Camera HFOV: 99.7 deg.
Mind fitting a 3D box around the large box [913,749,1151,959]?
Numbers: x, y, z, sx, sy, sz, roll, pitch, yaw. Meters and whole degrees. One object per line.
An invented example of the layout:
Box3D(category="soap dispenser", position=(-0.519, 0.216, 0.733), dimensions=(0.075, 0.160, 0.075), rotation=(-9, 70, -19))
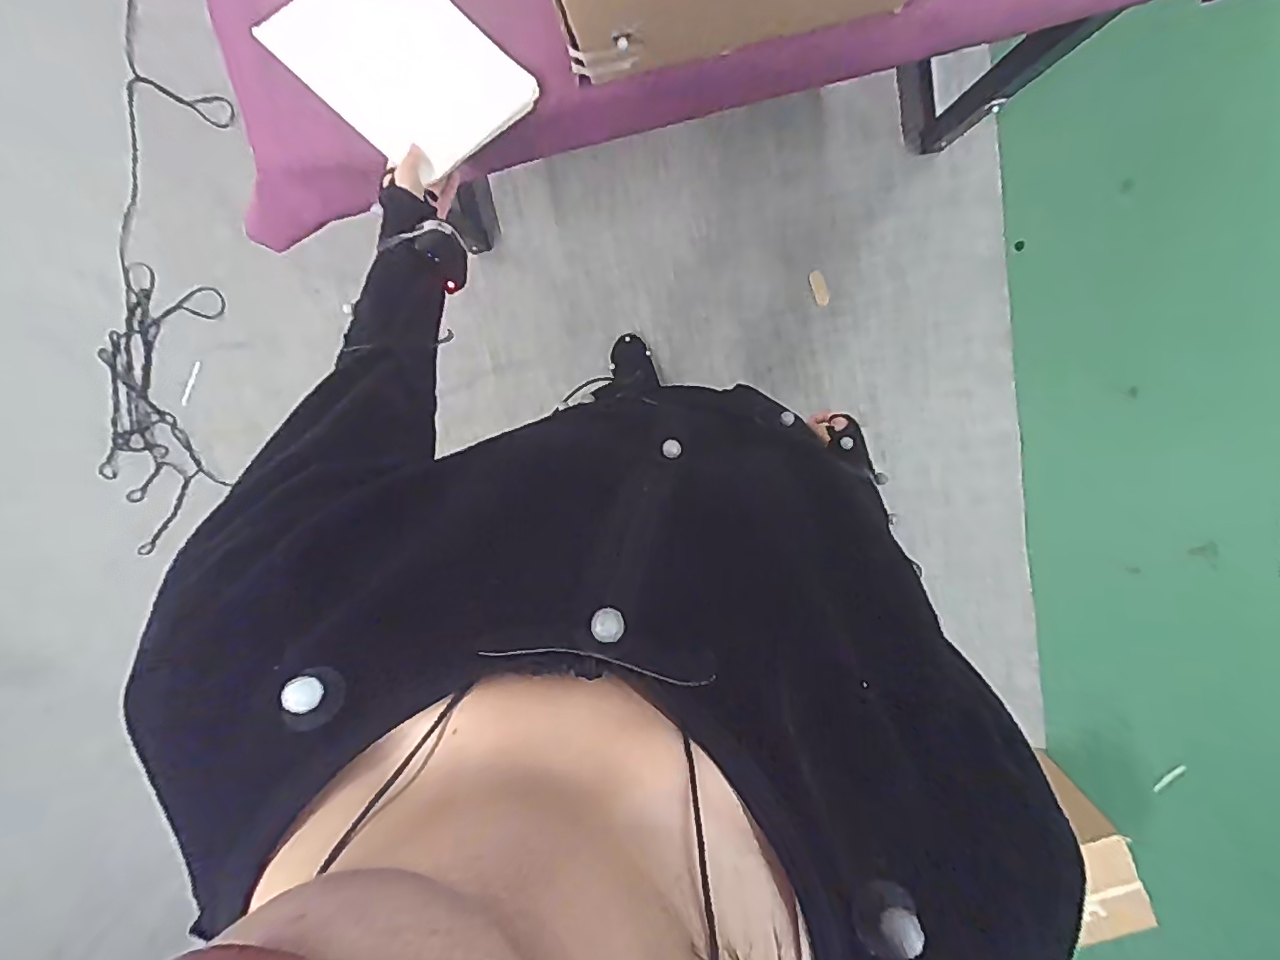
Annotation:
Box3D(category="large box", position=(1.080, 1.054, 1.538), dimensions=(0.408, 0.320, 0.320), rotation=(-26, 101, 7))
